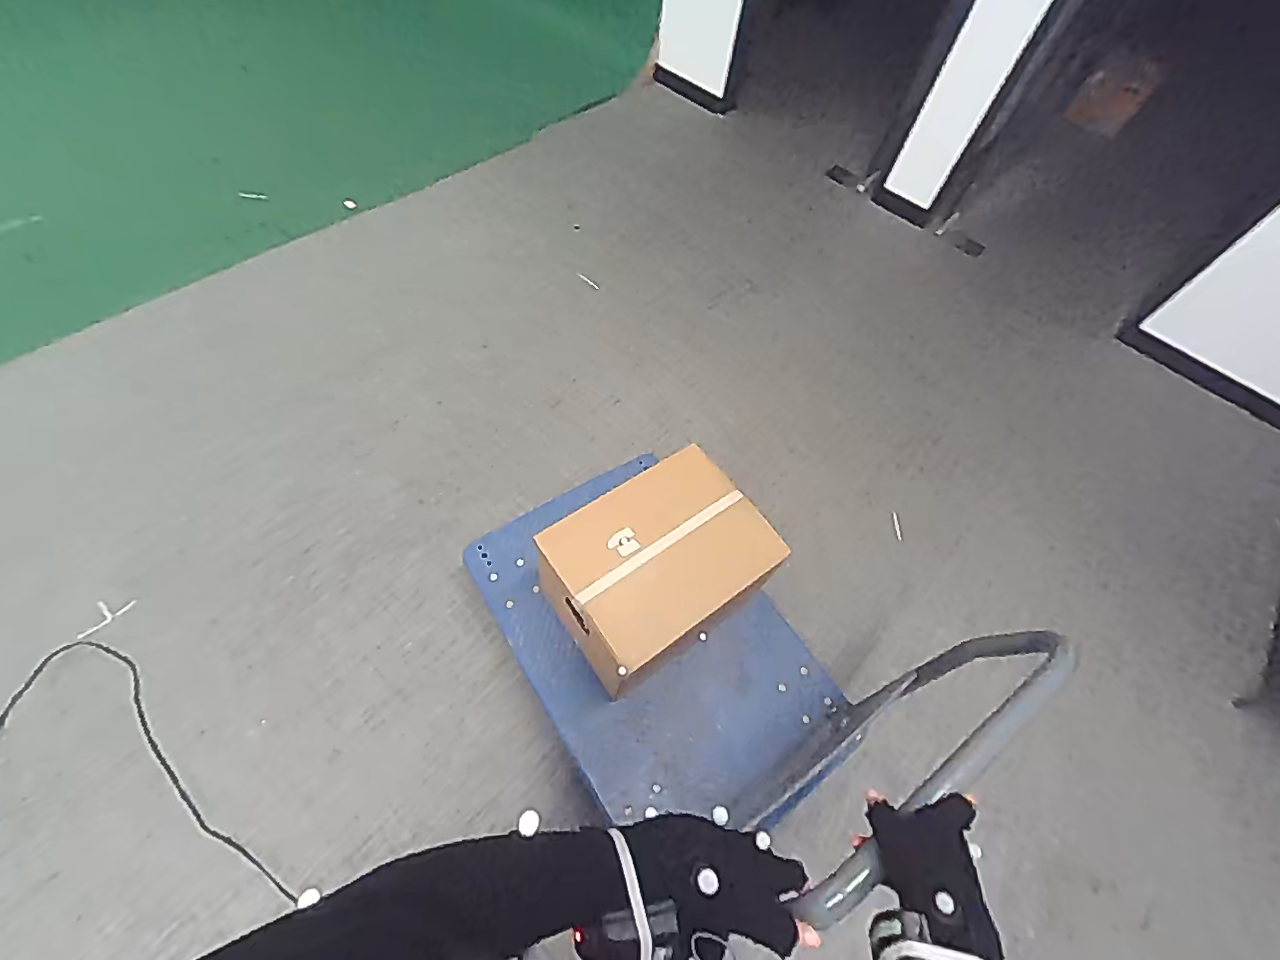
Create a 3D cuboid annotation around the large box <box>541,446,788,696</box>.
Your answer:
[{"bbox_3d":[0.040,0.203,1.182,0.408,0.320,0.320,-32,68,-21],"label":"large box"}]
